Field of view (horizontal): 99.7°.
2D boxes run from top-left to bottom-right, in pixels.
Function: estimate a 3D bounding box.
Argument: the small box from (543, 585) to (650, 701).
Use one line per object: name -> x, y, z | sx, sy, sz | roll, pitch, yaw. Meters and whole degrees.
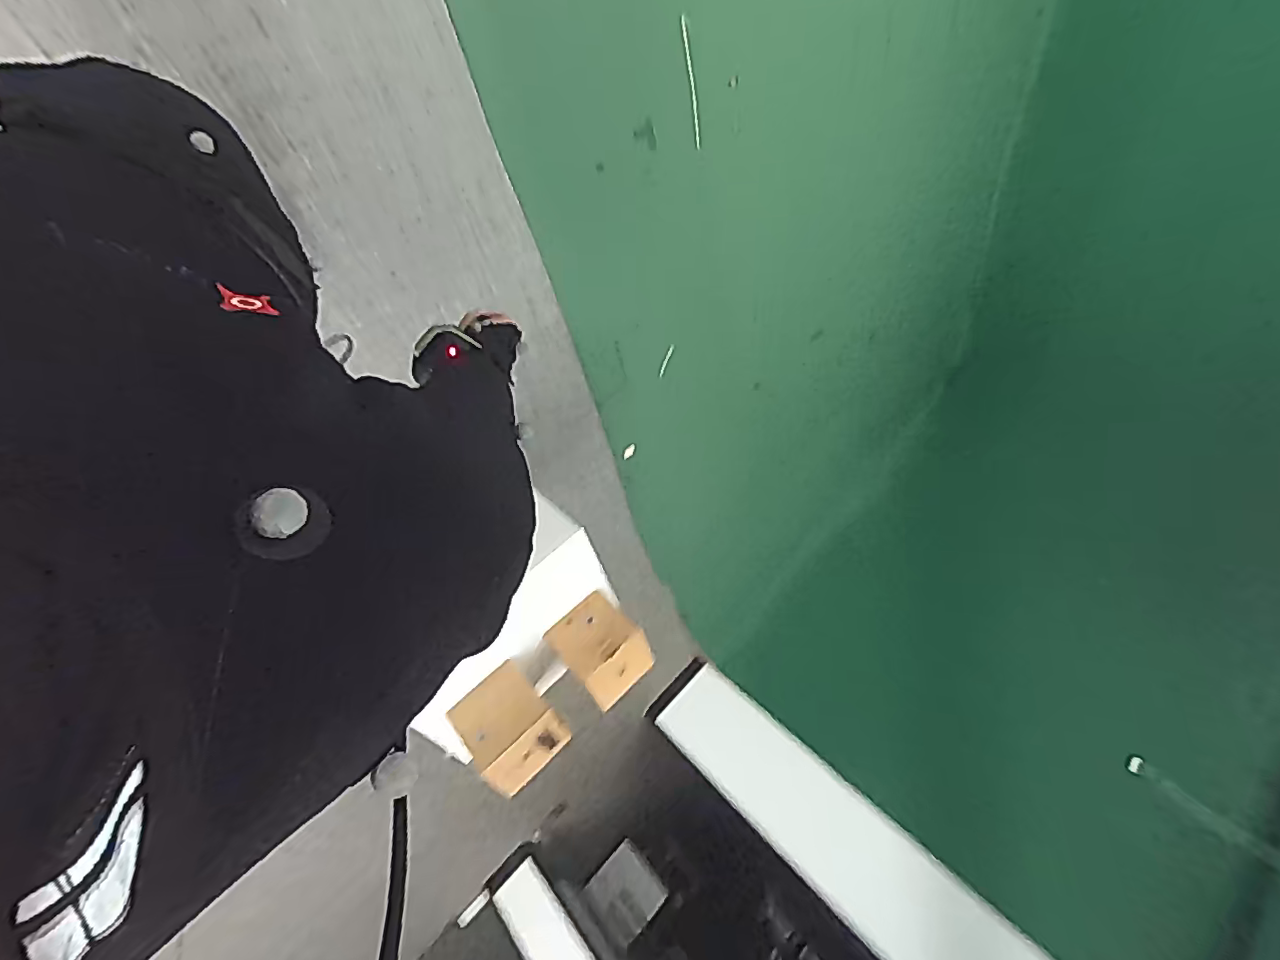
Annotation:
small box -> -0.104, 0.387, 1.302 | 0.168, 0.176, 0.179 | -39, 139, -20
